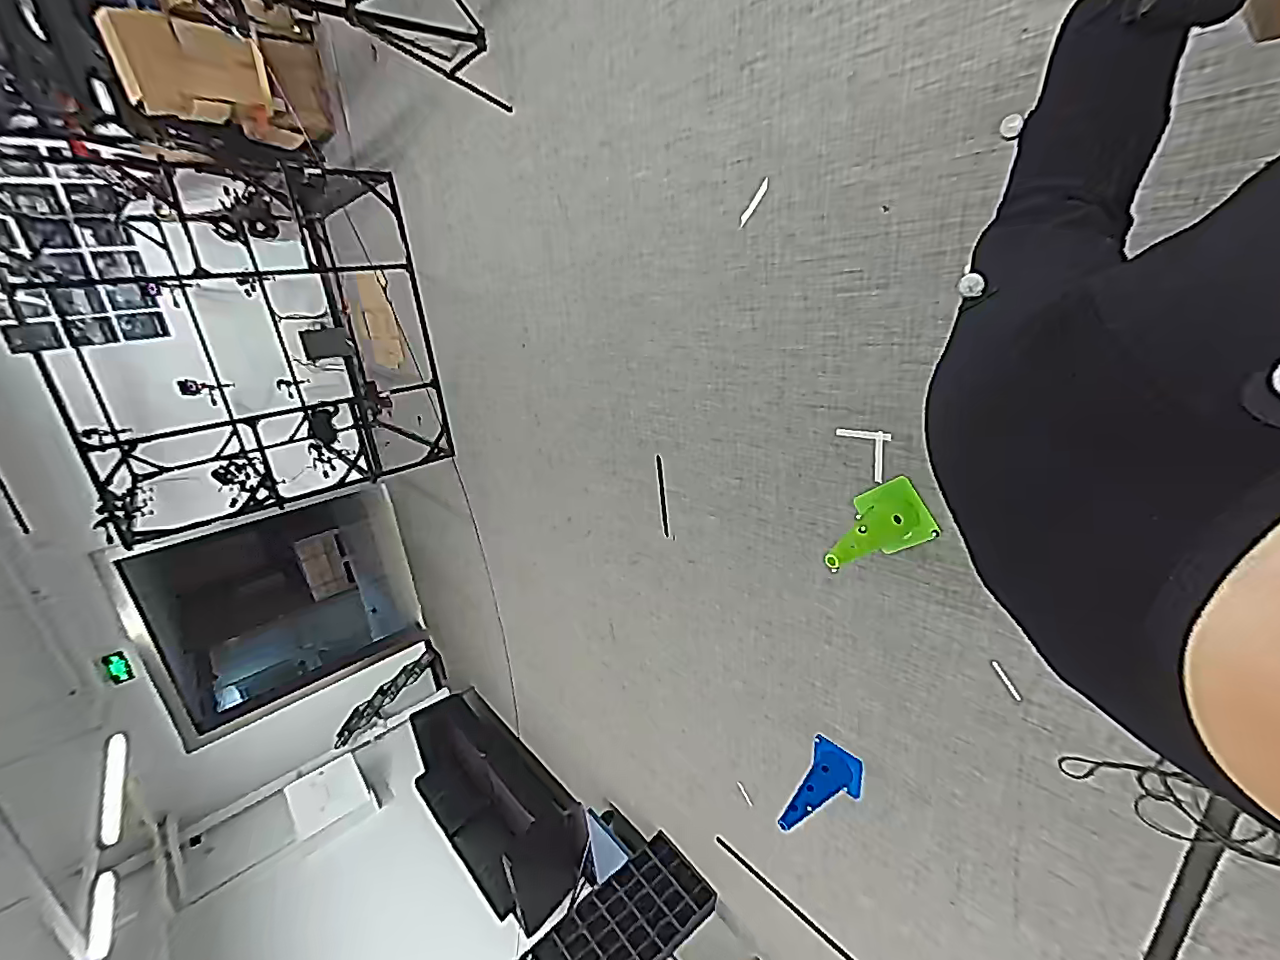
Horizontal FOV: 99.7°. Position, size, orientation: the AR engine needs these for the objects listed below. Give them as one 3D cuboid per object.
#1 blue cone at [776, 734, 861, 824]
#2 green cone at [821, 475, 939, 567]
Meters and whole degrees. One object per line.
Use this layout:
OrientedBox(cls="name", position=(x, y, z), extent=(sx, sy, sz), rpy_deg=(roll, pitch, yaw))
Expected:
OrientedBox(cls="blue cone", position=(0.649, 1.161, 2.028), extent=(0.192, 0.380, 0.193), rpy_deg=(22, 124, 46))
OrientedBox(cls="green cone", position=(0.631, 0.152, 1.516), extent=(0.200, 0.368, 0.202), rpy_deg=(62, 145, 10))
